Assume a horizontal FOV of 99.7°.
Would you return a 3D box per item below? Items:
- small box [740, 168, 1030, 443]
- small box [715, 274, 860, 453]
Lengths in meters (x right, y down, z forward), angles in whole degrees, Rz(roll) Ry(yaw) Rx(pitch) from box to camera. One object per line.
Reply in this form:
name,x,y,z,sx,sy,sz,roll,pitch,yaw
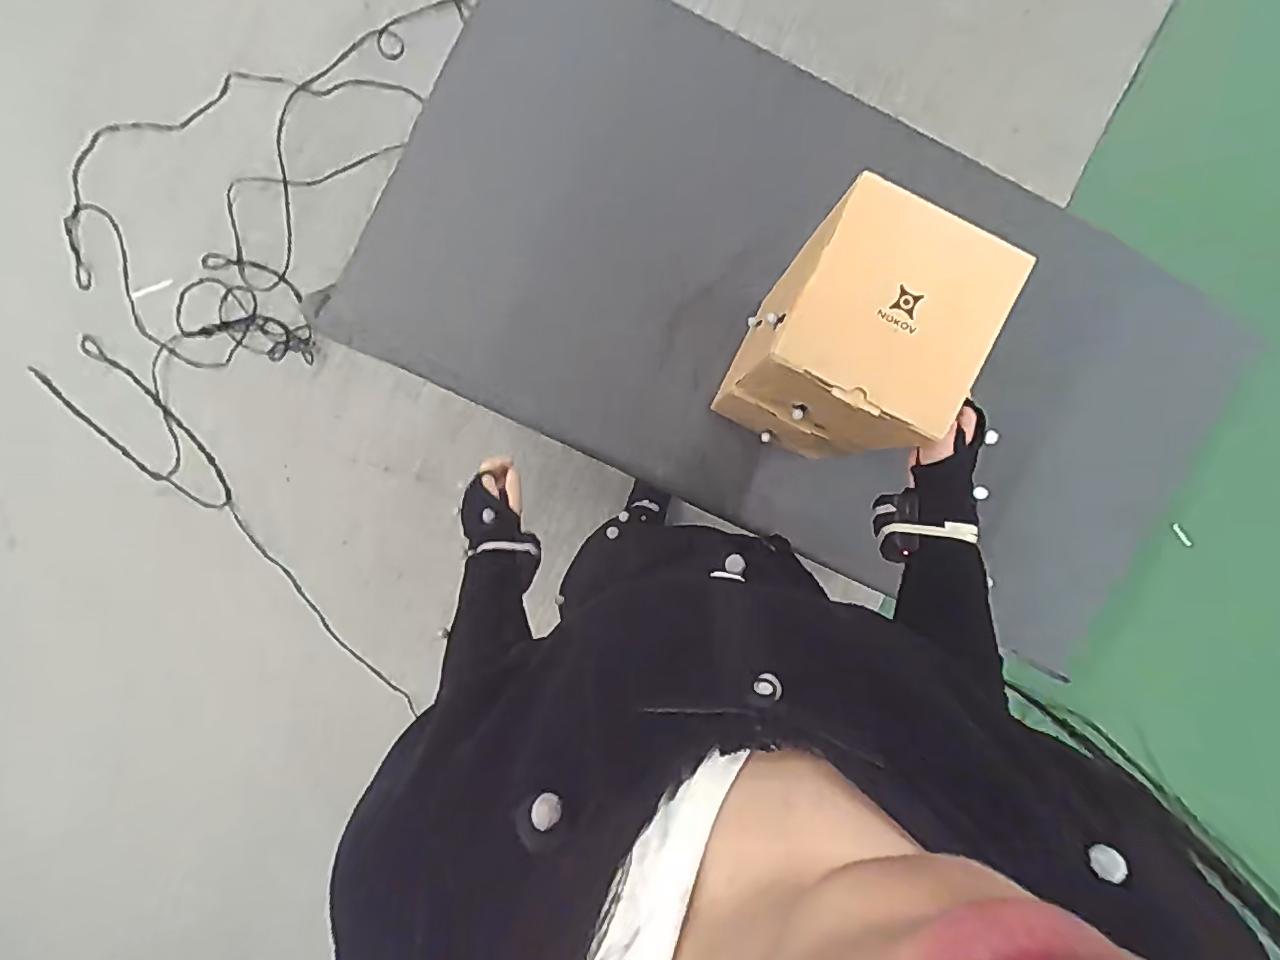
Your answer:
small box,0.216,-0.149,0.530,0.168,0.176,0.179,26,91,-2
small box,0.210,-0.147,0.692,0.168,0.176,0.179,26,91,-1
